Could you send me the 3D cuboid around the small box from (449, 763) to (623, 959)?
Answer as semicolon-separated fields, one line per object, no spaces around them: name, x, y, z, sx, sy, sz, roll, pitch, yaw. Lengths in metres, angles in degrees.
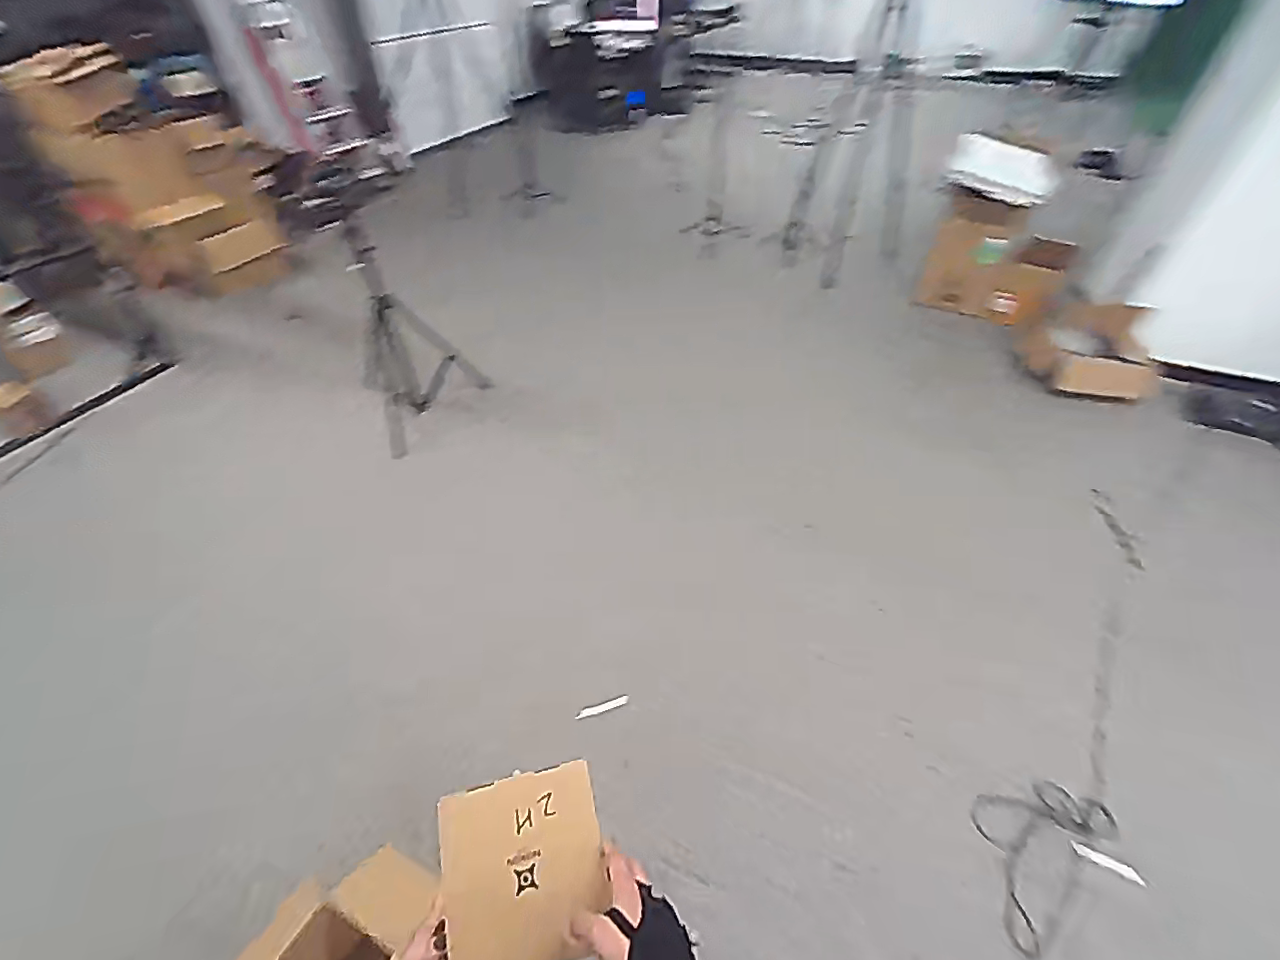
small box;-0.122;0.447;0.629;0.168;0.176;0.179;-7;59;-14
